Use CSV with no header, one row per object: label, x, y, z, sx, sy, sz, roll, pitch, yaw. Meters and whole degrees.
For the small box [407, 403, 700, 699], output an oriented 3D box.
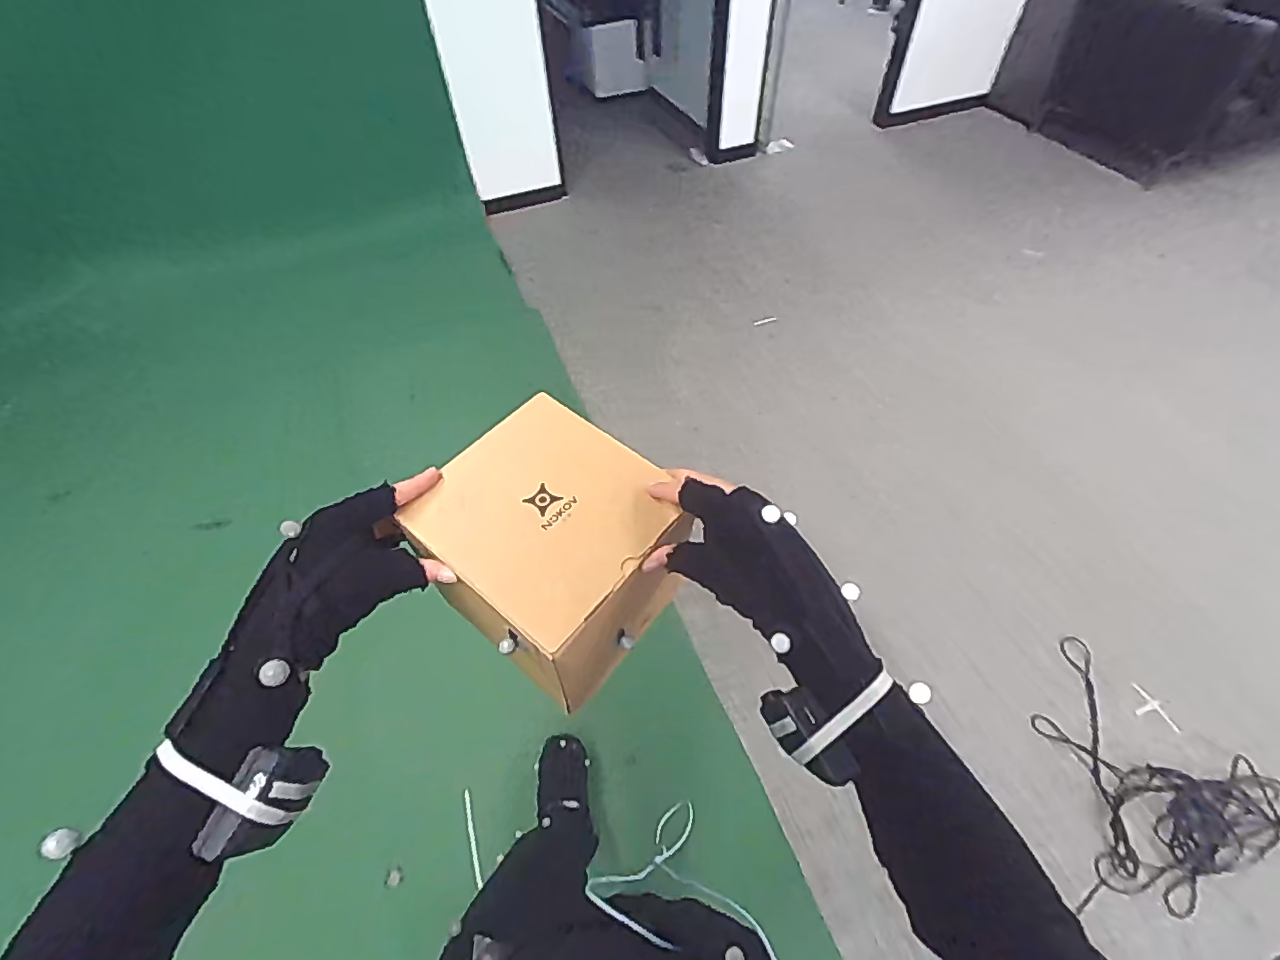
small box,-0.072,0.069,0.494,0.179,0.176,0.168,35,60,20
